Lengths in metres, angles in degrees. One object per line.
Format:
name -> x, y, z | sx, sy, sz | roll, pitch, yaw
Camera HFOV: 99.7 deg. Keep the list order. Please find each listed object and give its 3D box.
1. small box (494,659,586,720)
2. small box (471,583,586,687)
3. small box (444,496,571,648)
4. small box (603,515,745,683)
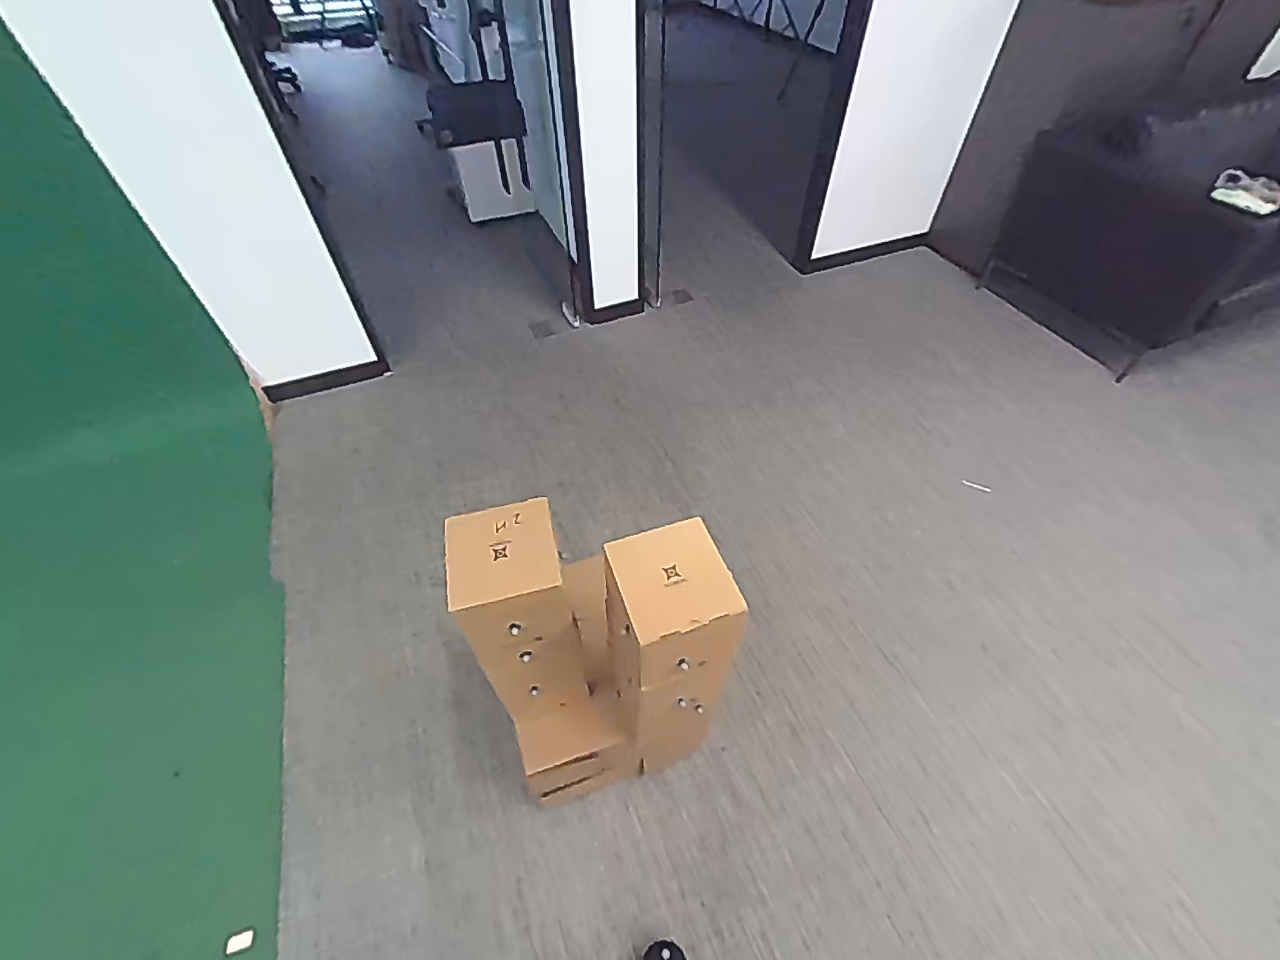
small box -> -0.220, 0.370, 1.138 | 0.168, 0.176, 0.179 | -16, 50, -13
small box -> -0.214, 0.259, 1.011 | 0.179, 0.176, 0.168 | -19, 51, -11
small box -> -0.213, 0.157, 0.884 | 0.168, 0.176, 0.179 | -12, 49, -9
small box -> 0.044, 0.189, 0.857 | 0.168, 0.176, 0.179 | -16, 51, -13
